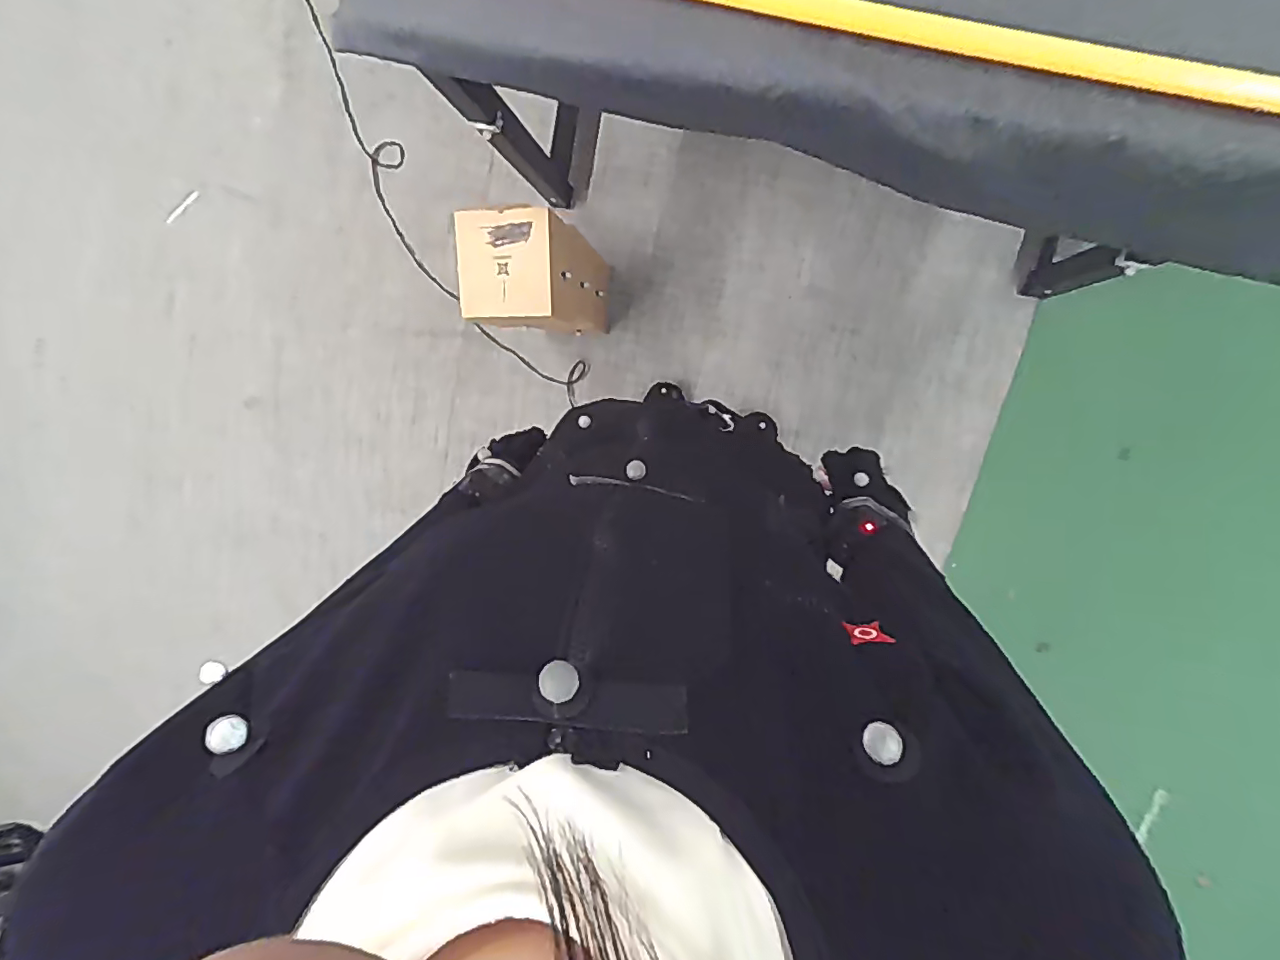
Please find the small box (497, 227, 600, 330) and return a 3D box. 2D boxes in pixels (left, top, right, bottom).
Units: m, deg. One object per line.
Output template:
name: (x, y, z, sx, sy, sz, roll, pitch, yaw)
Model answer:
small box: (-0.186, -0.418, 1.152, 0.168, 0.176, 0.179, -1, 99, 12)
